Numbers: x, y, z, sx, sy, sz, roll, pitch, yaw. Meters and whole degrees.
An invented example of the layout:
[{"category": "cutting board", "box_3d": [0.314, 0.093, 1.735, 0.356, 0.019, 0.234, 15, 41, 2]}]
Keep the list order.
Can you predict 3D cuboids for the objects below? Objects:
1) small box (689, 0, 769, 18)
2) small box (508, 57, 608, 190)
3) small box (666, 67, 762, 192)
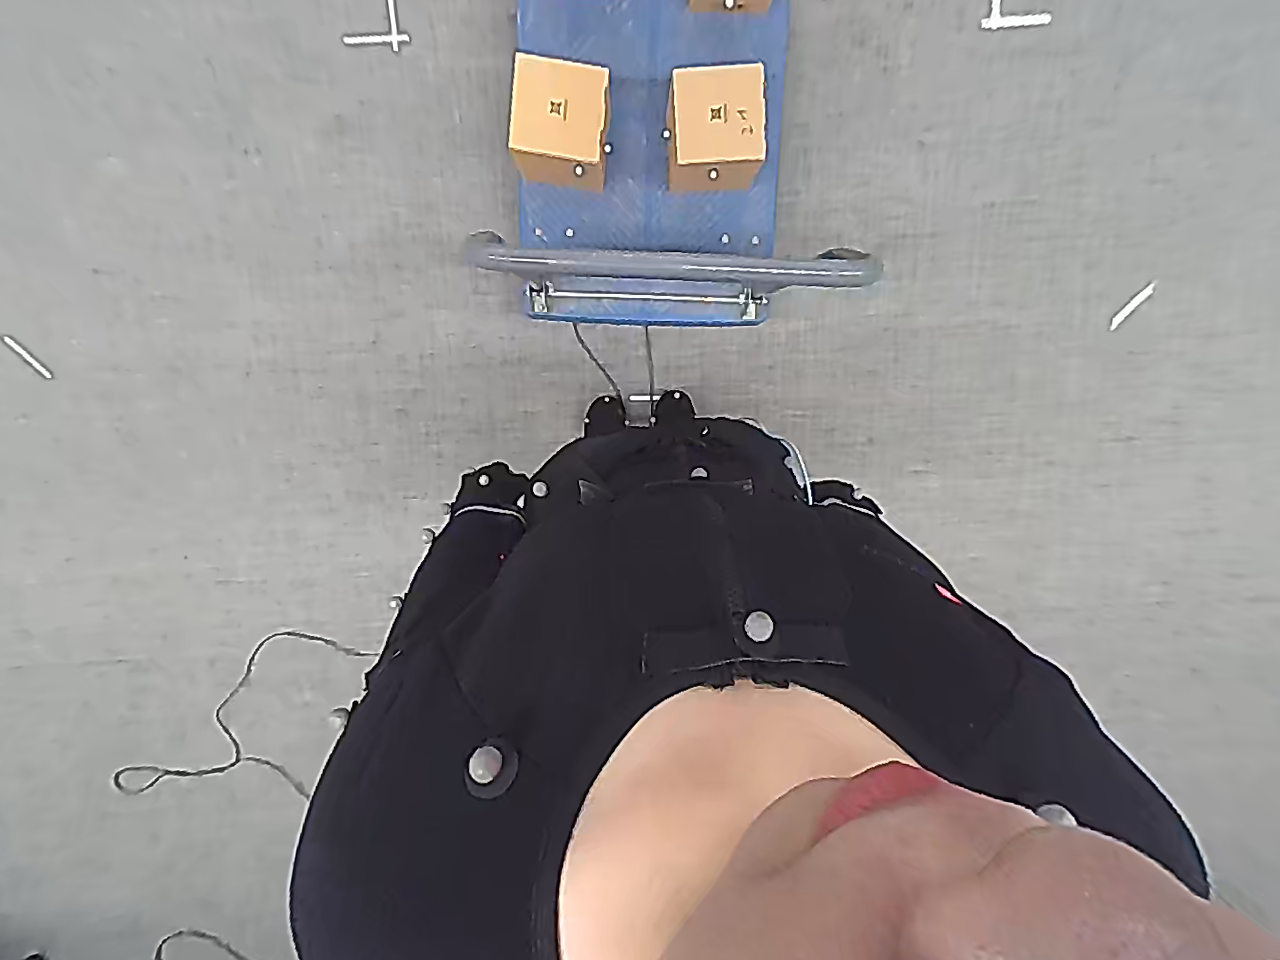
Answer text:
[{"category": "small box", "box_3d": [0.187, -1.055, 1.052, 0.168, 0.176, 0.179, 1, 102, -2]}, {"category": "small box", "box_3d": [-0.161, -0.714, 1.104, 0.179, 0.176, 0.168, 6, 100, -5]}, {"category": "small box", "box_3d": [0.146, -0.711, 1.115, 0.179, 0.176, 0.168, -4, 101, -1]}]
